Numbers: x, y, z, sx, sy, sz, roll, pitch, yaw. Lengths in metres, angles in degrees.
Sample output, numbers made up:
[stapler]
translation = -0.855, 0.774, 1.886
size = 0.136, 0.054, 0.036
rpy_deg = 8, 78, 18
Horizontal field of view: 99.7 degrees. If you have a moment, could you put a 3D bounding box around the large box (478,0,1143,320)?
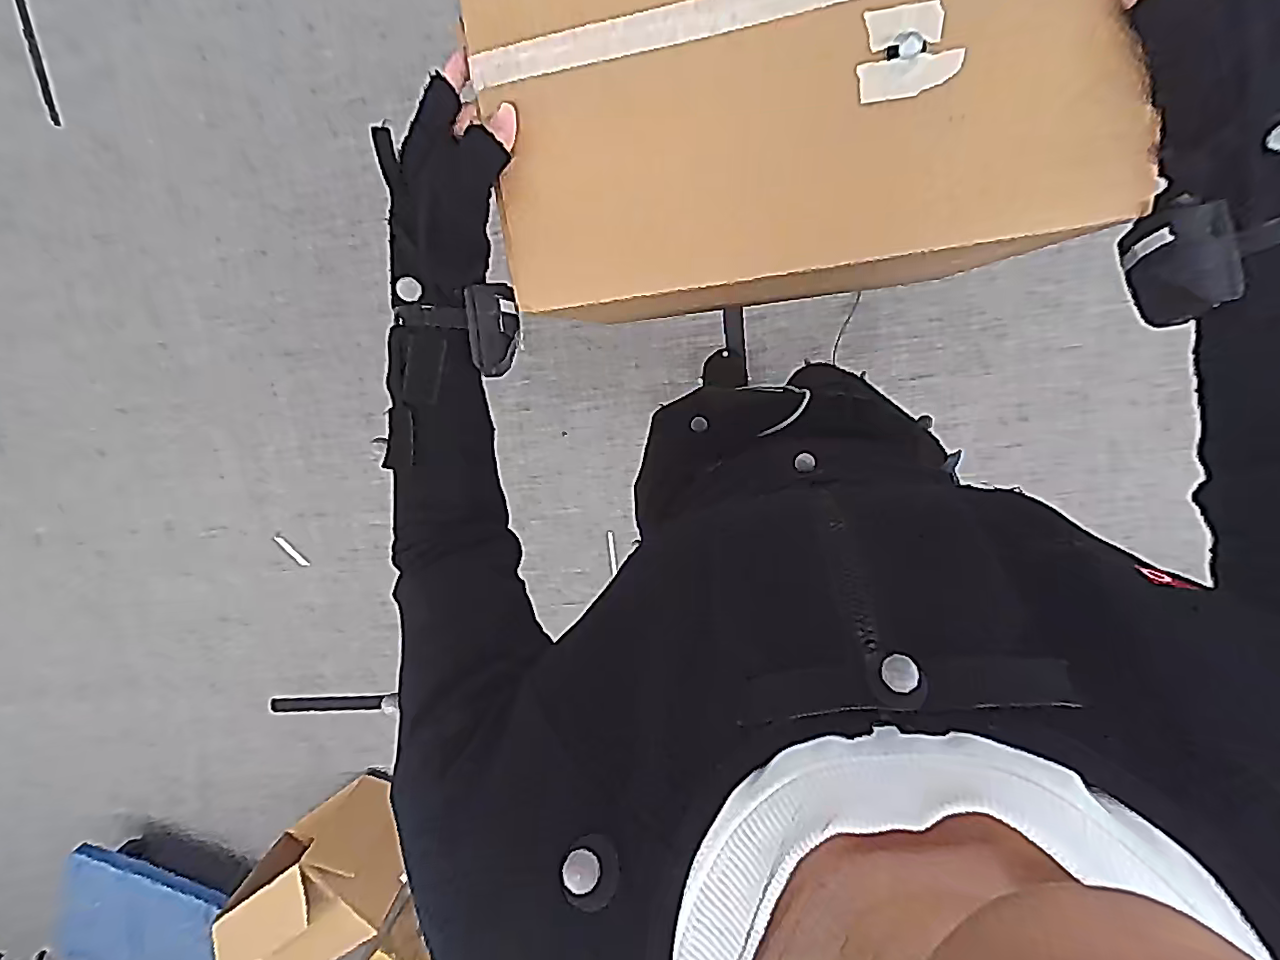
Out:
[large box]
translation = 0.110, -0.336, 0.481
size = 0.408, 0.320, 0.320
rpy_deg = -6, 104, 10
